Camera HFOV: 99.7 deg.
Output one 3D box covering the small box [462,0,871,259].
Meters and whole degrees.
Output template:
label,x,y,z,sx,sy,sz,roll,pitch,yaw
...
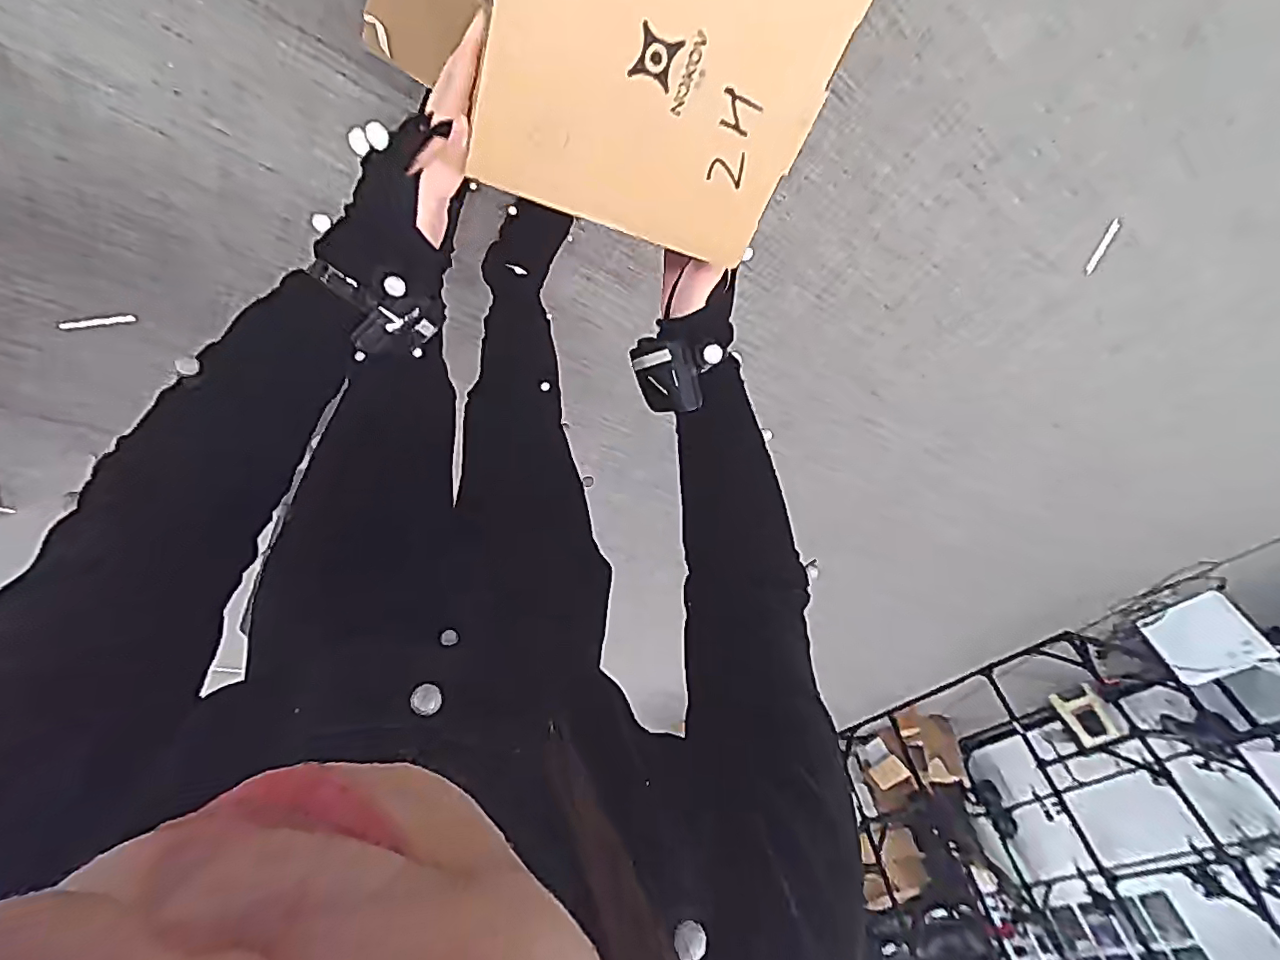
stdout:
label,x,y,z,sx,sy,sz,roll,pitch,yaw
small box,0.001,-0.268,0.325,0.179,0.176,0.168,9,131,-23
